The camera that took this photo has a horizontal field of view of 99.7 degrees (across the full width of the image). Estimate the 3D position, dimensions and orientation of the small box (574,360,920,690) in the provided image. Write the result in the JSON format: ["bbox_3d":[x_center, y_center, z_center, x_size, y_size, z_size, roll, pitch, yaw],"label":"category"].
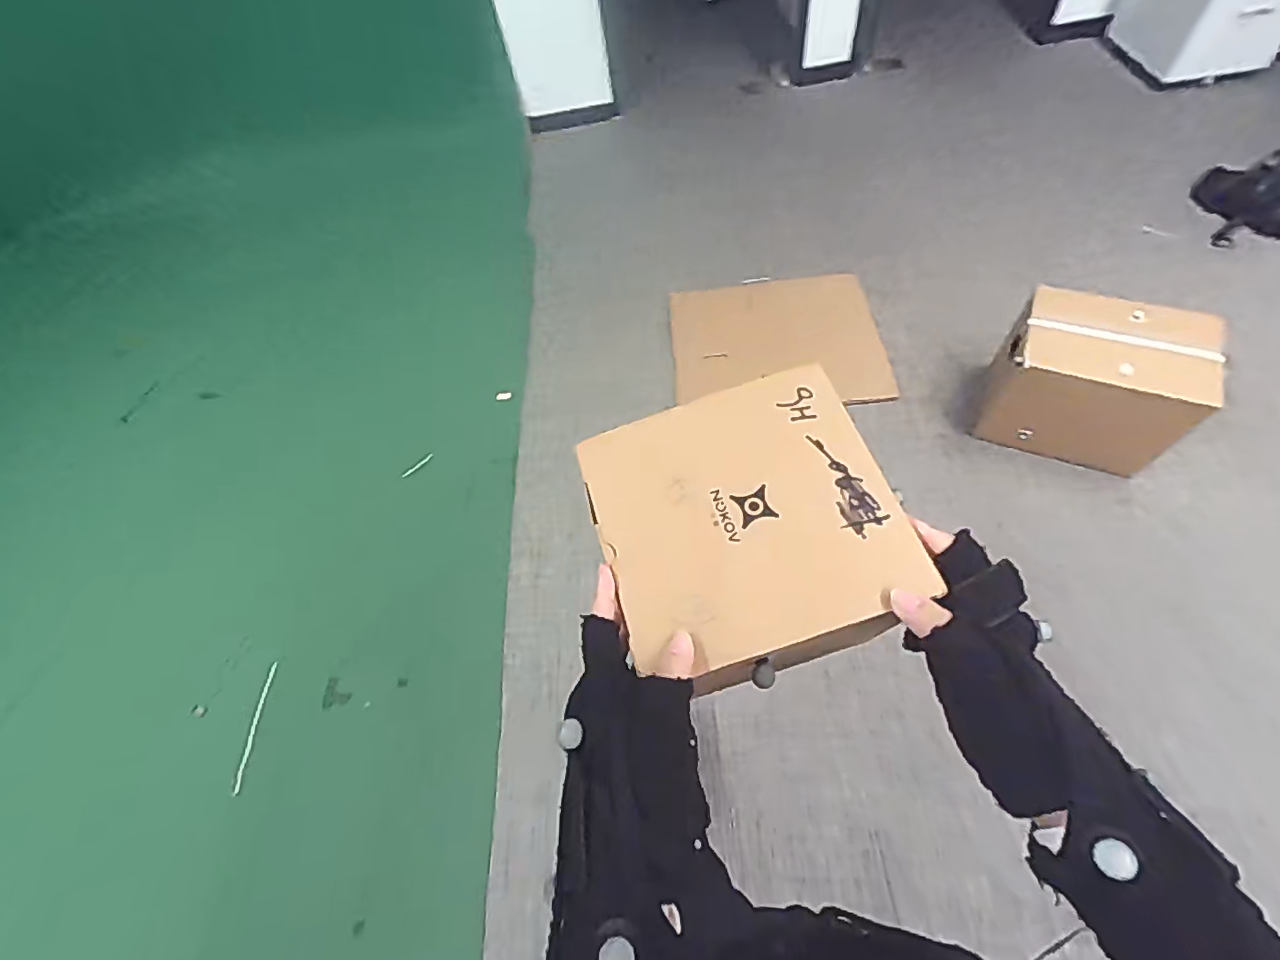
[{"bbox_3d":[0.070,0.047,0.414,0.179,0.176,0.168,-20,62,-1],"label":"small box"}]
